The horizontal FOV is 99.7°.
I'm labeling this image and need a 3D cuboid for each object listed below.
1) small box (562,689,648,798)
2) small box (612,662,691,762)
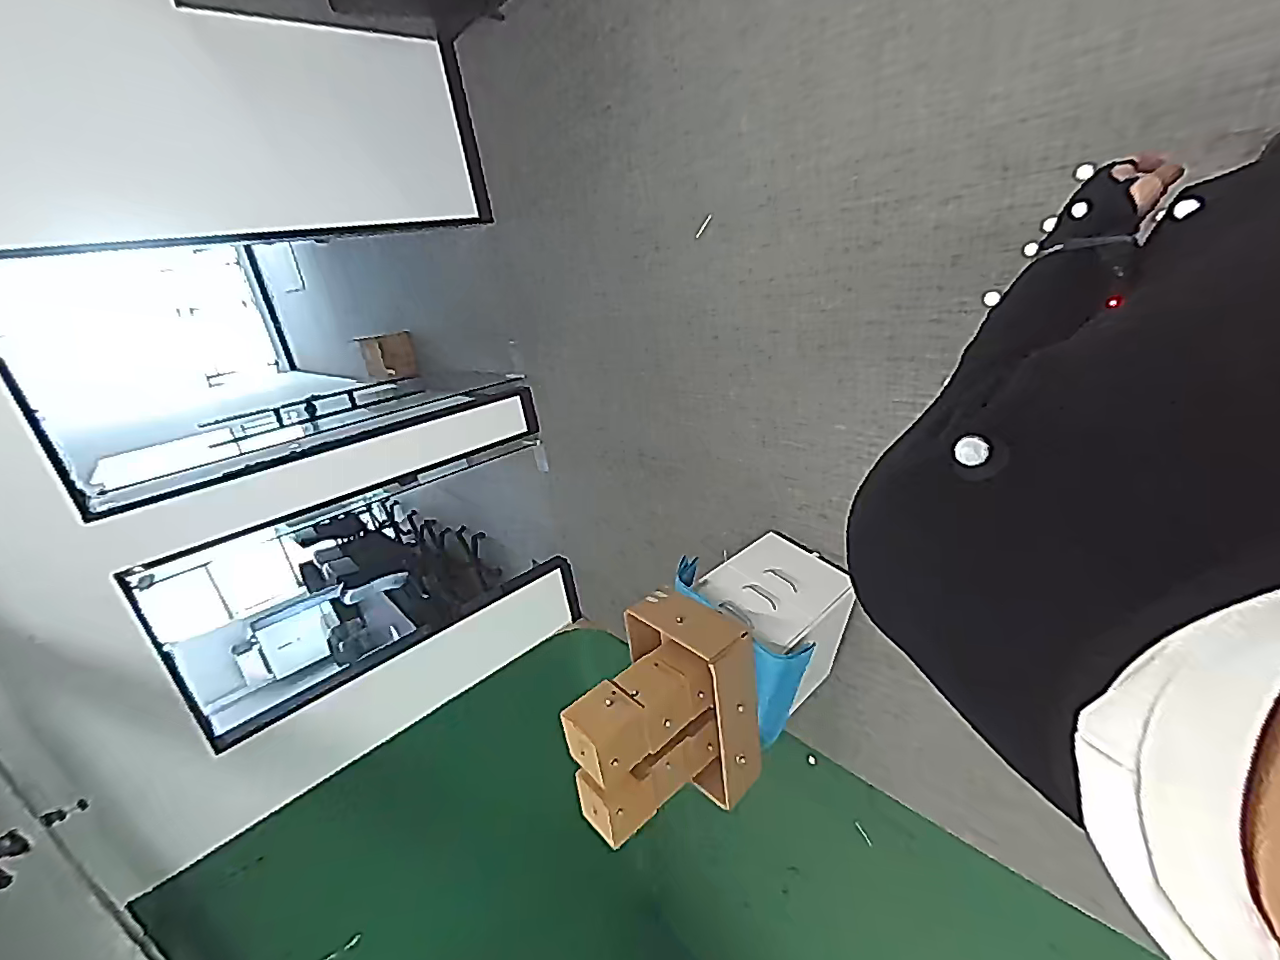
[{"bbox_3d":[-0.093,0.731,1.519,0.168,0.176,0.179,18,123,46],"label":"small box"},{"bbox_3d":[0.035,0.683,1.612,0.168,0.176,0.179,16,123,47],"label":"small box"}]
